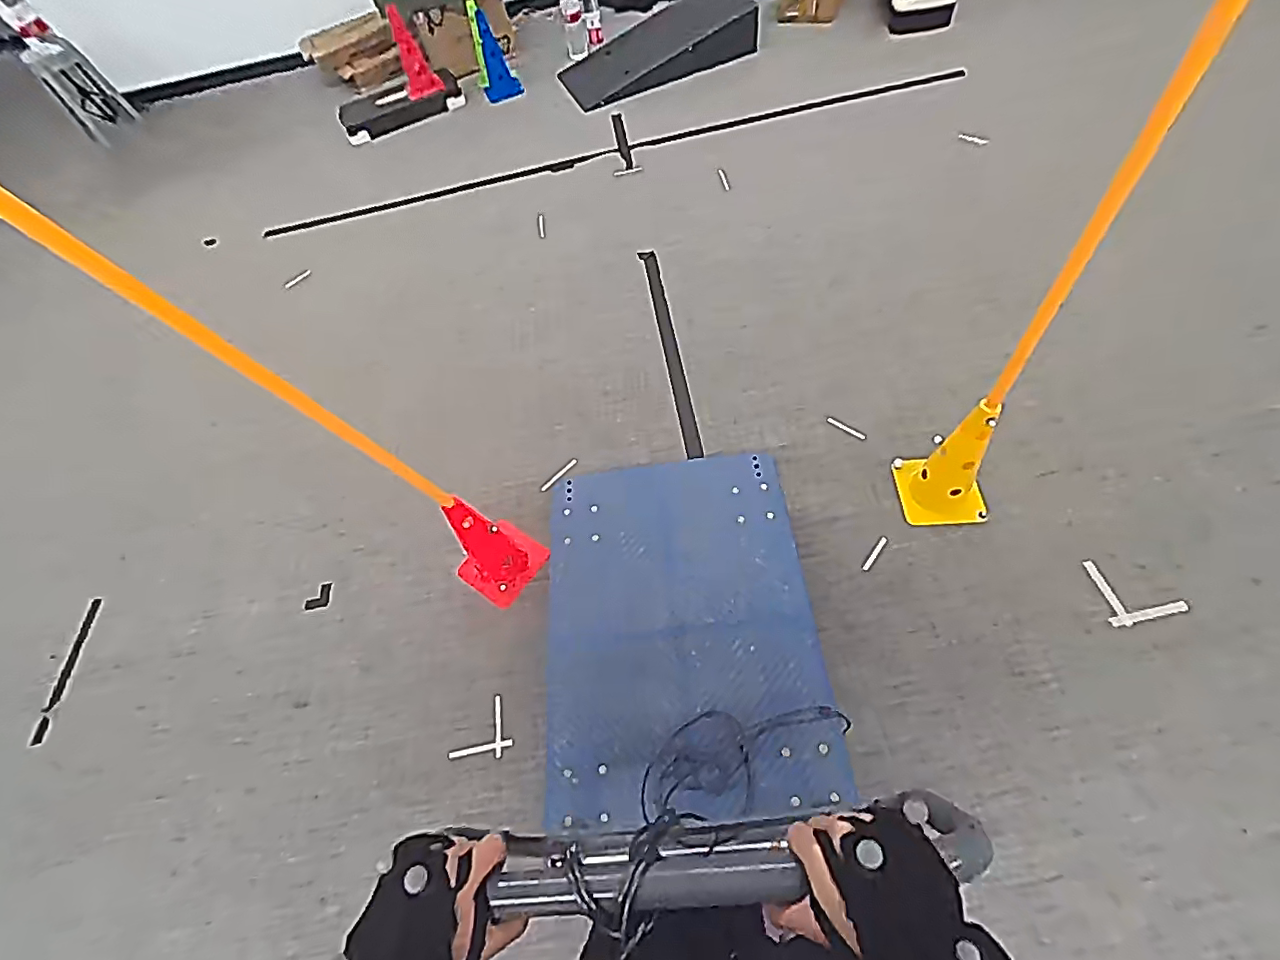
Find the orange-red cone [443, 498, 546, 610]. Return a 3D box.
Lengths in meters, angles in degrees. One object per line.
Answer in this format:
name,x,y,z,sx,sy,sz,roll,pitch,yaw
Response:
orange-red cone,-0.400,0.147,1.346,0.198,0.360,0.199,30,66,23
